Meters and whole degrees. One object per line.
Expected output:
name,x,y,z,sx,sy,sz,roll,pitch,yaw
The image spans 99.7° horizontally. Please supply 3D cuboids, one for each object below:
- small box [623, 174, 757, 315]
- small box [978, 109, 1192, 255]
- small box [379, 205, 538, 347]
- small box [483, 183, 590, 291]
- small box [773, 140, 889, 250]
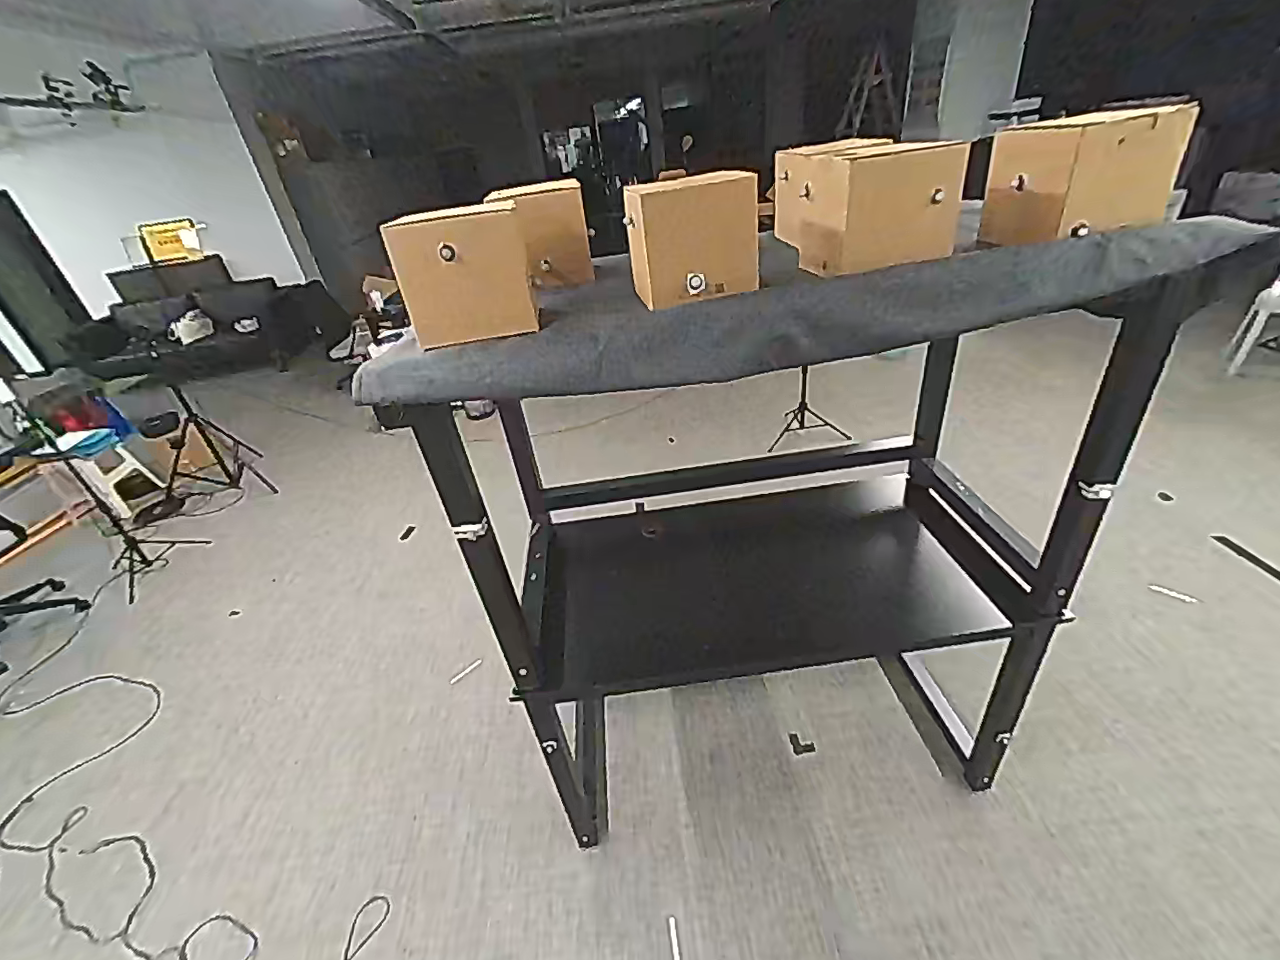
small box,0.074,-0.364,0.833,0.168,0.176,0.179,-11,31,-3
small box,0.664,-0.454,0.834,0.168,0.176,0.179,-10,31,-2
small box,-0.259,-0.310,0.819,0.179,0.176,0.168,-10,32,-5
small box,-0.195,-0.479,1.073,0.179,0.176,0.168,-9,33,-3
small box,0.375,-0.571,1.088,0.168,0.176,0.179,-9,33,-1
